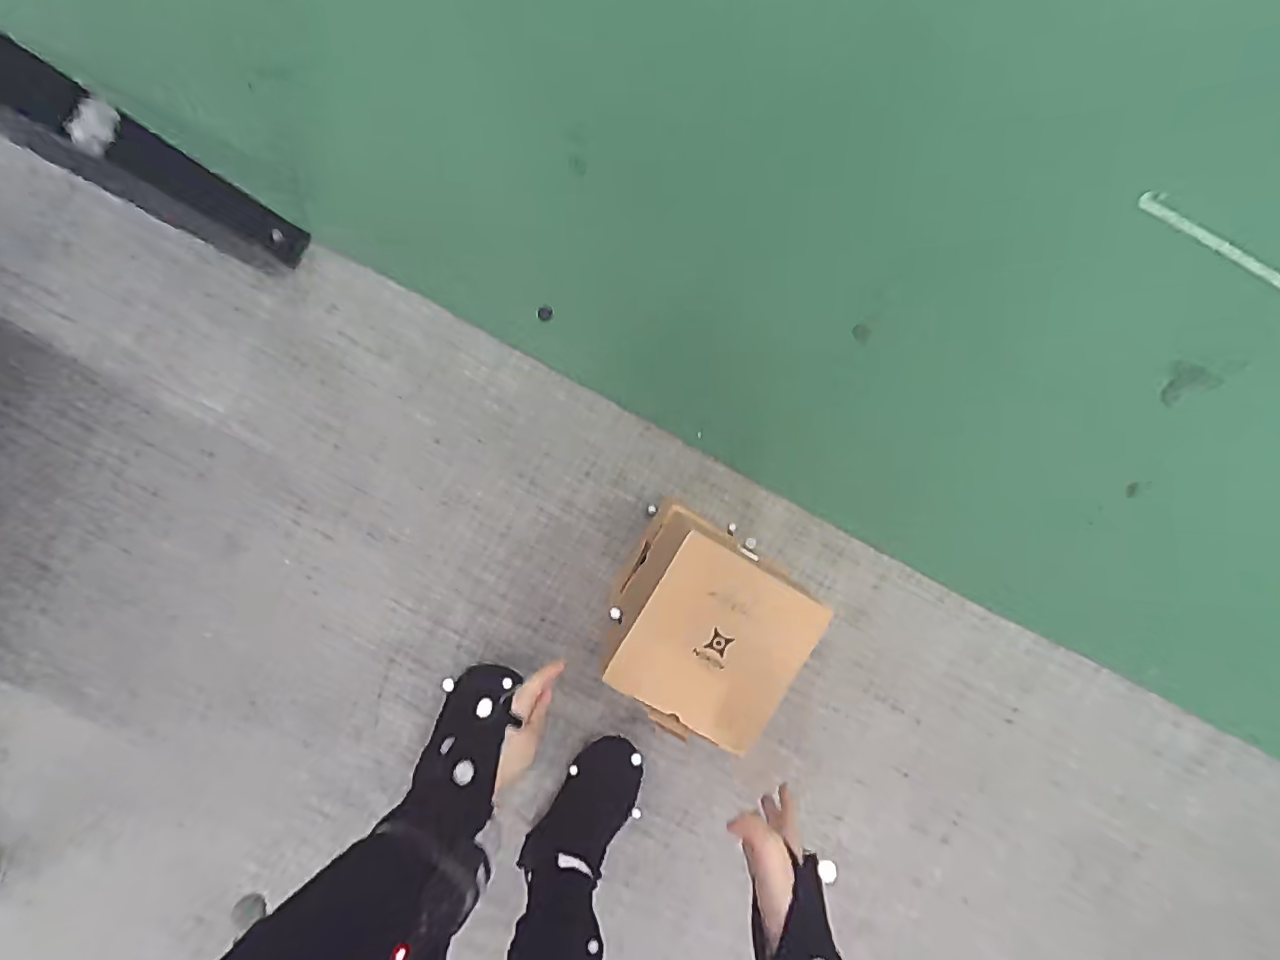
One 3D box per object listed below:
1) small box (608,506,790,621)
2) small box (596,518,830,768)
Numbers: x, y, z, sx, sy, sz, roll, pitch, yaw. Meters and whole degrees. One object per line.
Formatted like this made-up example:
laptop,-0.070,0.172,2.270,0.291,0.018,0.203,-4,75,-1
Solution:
small box,0.072,0.147,0.754,0.179,0.176,0.168,31,92,-3
small box,0.069,0.160,0.593,0.168,0.176,0.179,30,91,-3
